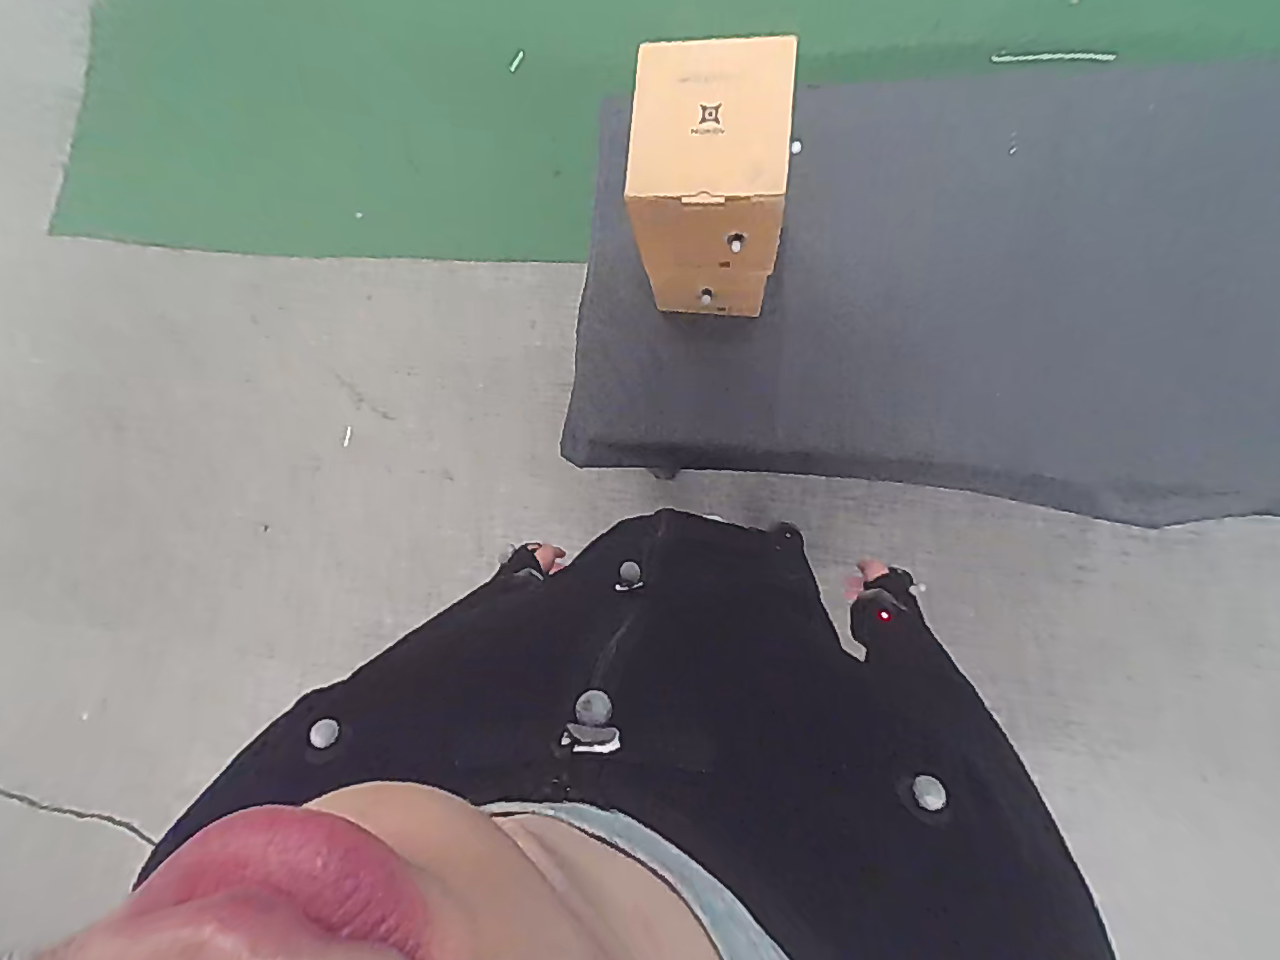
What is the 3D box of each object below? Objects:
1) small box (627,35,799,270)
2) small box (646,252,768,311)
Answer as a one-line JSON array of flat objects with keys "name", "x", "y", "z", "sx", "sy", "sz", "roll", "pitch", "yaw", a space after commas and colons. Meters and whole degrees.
[{"name": "small box", "x": 0.086, "y": -0.365, "z": 0.633, "sx": 0.168, "sy": 0.176, "sz": 0.179, "roll": 4, "pitch": 84, "yaw": 8}, {"name": "small box", "x": 0.110, "y": -0.364, "z": 0.794, "sx": 0.168, "sy": 0.176, "sz": 0.179, "roll": 7, "pitch": 86, "yaw": 8}]
